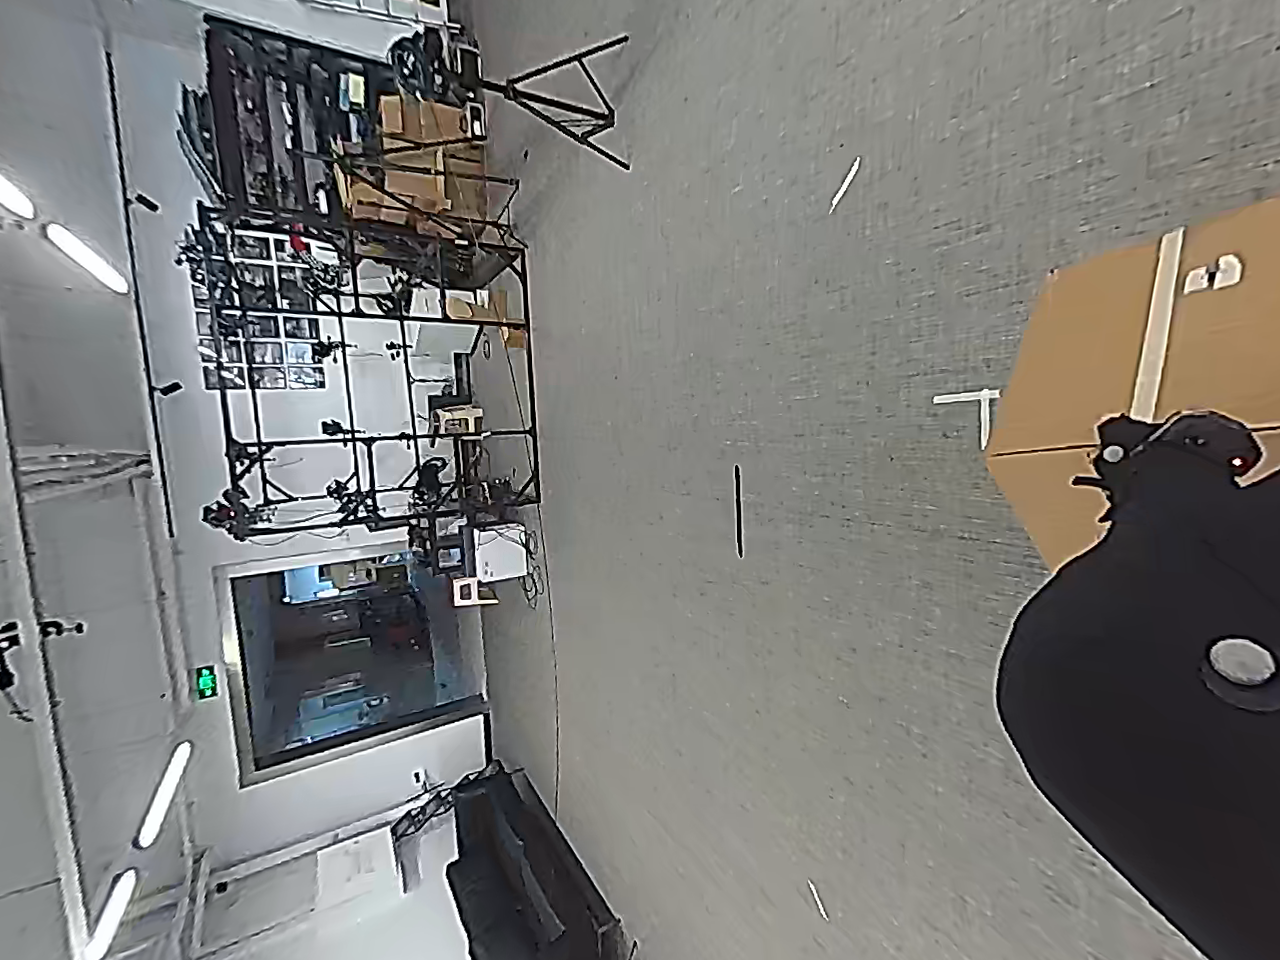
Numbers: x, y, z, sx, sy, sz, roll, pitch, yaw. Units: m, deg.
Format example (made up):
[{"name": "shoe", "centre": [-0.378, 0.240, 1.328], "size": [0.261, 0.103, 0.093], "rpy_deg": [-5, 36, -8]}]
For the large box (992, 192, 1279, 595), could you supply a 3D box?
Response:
[{"name": "large box", "centre": [0.740, -0.100, 0.723], "size": [0.320, 0.408, 0.320], "rpy_deg": [46, 154, -24]}]
